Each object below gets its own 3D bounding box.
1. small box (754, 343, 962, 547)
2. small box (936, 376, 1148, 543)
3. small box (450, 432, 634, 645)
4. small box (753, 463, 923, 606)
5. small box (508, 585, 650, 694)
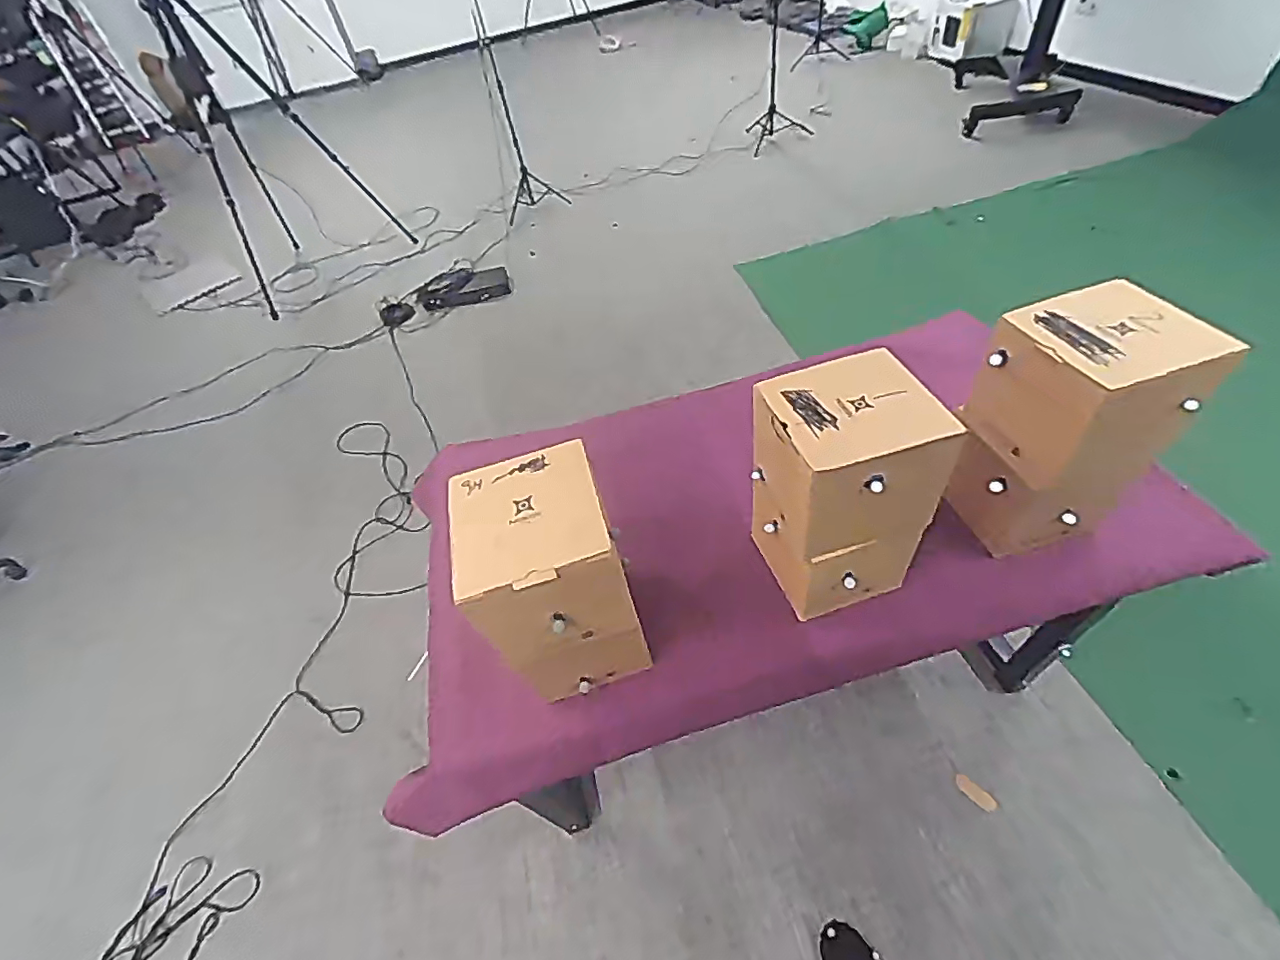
[{"bbox_3d":[0.254,-0.040,0.677,0.179,0.176,0.168,-15,48,-3],"label":"small box"},{"bbox_3d":[0.581,-0.024,0.816,0.168,0.176,0.179,-15,48,-2],"label":"small box"},{"bbox_3d":[-0.113,0.078,0.648,0.168,0.176,0.179,-17,50,-3],"label":"small box"},{"bbox_3d":[0.279,0.066,0.801,0.168,0.176,0.179,-18,48,-4],"label":"small box"},{"bbox_3d":[-0.094,0.176,0.778,0.168,0.176,0.179,-18,50,-4],"label":"small box"}]
